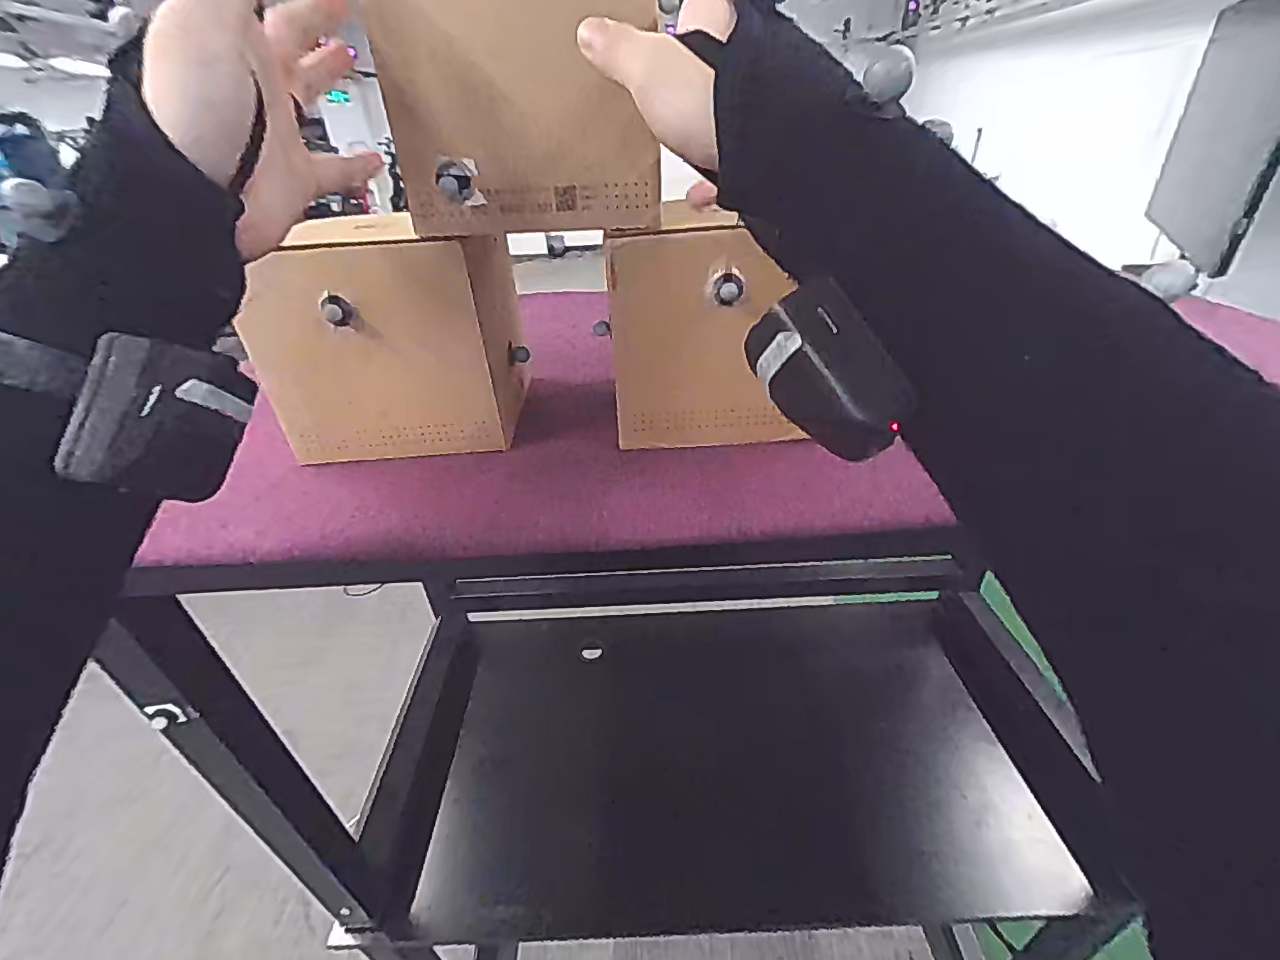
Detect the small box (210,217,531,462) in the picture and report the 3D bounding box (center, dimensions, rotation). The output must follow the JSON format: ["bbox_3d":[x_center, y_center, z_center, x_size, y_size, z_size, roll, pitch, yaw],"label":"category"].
[{"bbox_3d":[-0.205,-0.127,0.475,0.179,0.176,0.168,-4,34,0],"label":"small box"}]

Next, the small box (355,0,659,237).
[{"bbox_3d":[-0.072,-0.274,0.387,0.168,0.176,0.179,-2,32,2],"label":"small box"}]

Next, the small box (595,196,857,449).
[{"bbox_3d":[0.063,-0.135,0.462,0.179,0.176,0.168,-3,33,2],"label":"small box"}]
